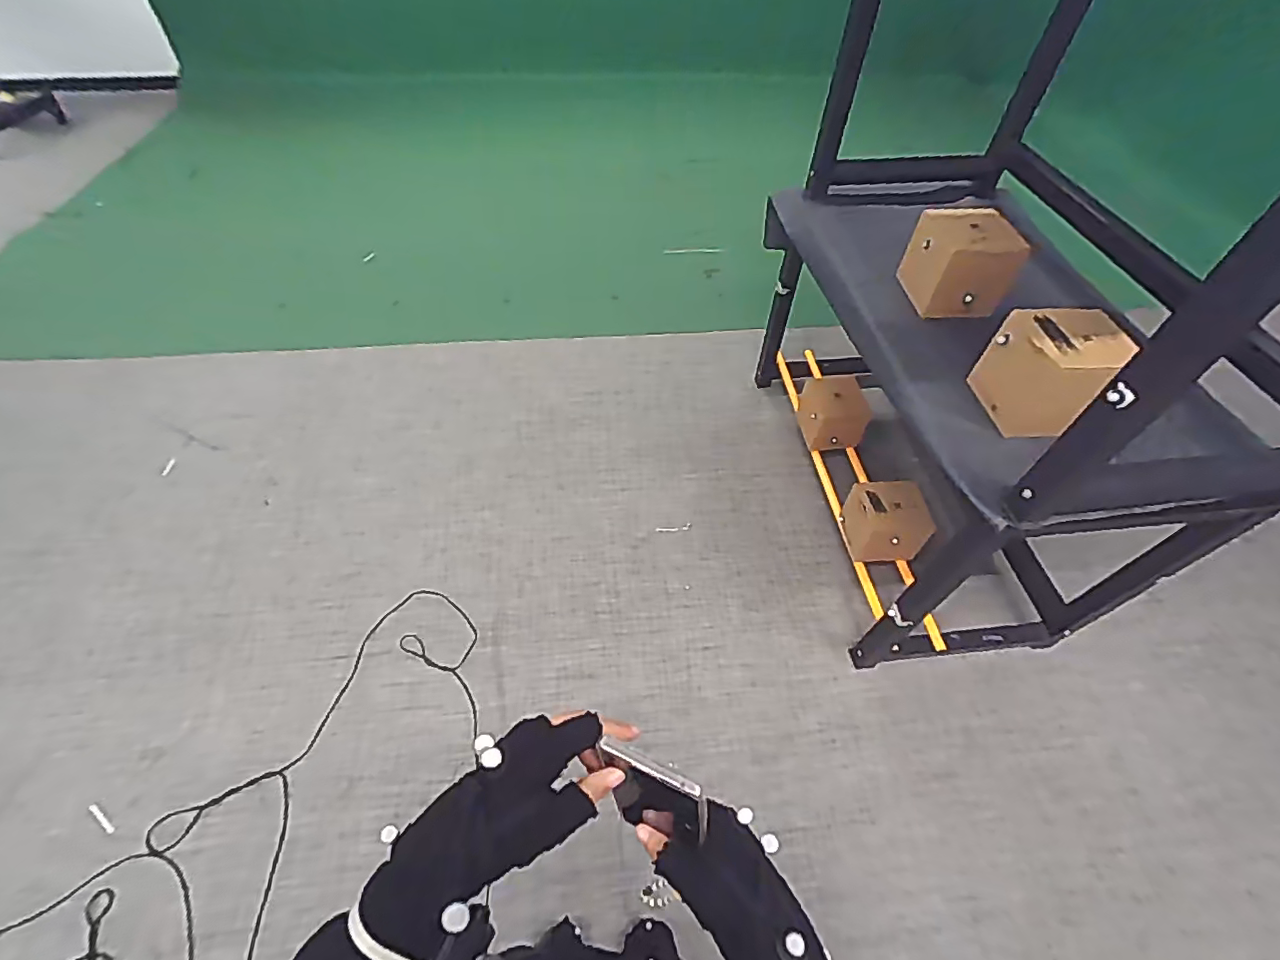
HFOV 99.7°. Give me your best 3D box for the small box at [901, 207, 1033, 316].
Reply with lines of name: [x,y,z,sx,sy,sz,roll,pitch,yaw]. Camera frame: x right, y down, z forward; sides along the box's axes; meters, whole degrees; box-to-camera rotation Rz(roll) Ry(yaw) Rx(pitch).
small box: [0.723,-0.493,1.221,0.168,0.176,0.179,-2,52,-2]

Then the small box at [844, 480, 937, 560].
small box: [0.698,0.118,1.535,0.179,0.176,0.168,-2,52,-2]
